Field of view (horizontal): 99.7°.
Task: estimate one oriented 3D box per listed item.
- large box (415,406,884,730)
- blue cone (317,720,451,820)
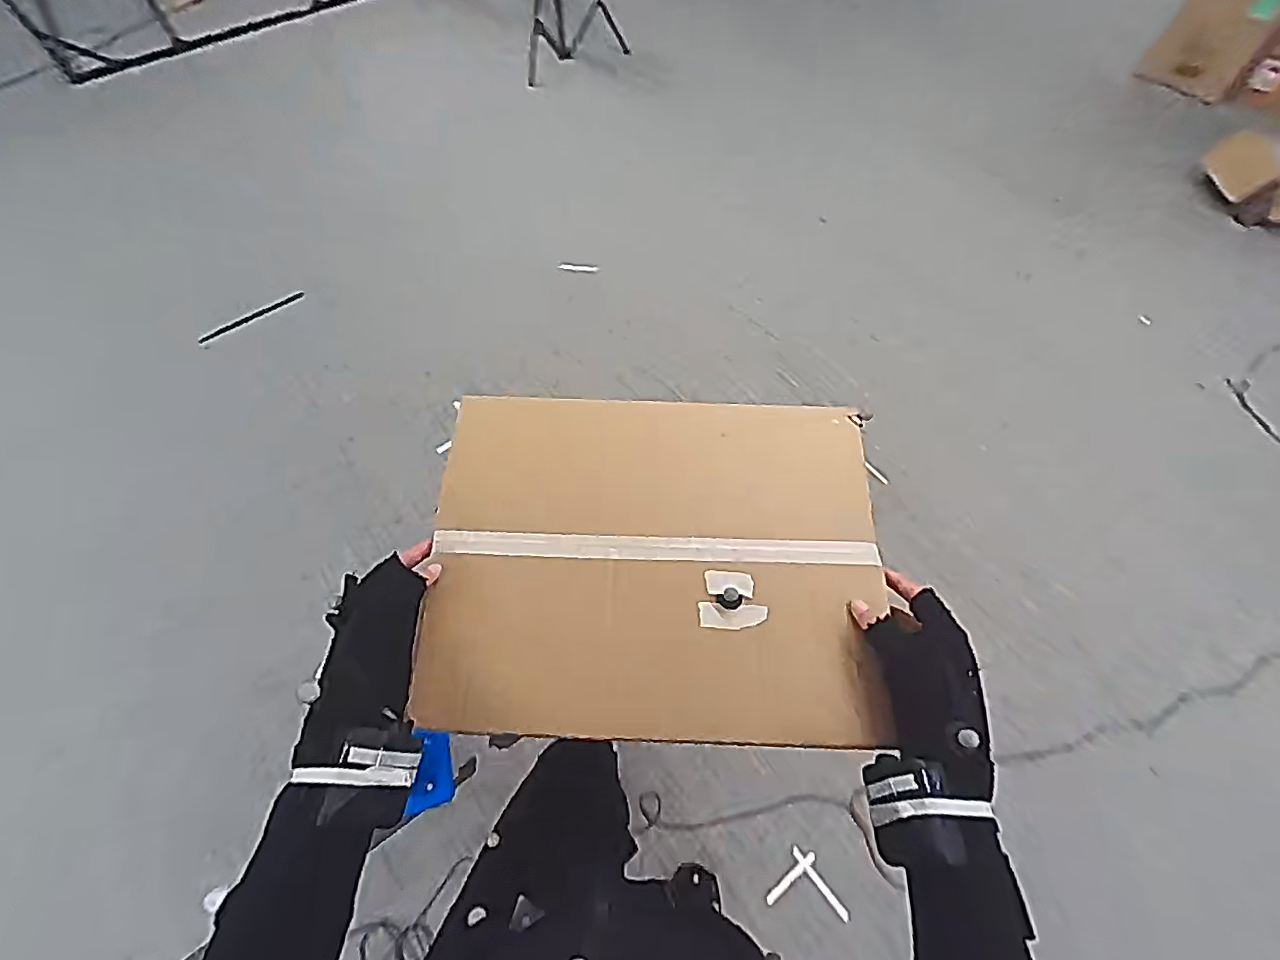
[{"bbox_3d":[0.008,0.125,0.647,0.408,0.320,0.320,2,66,1],"label":"large box"},{"bbox_3d":[-0.556,0.602,1.151,0.192,0.380,0.193,-14,60,-5],"label":"blue cone"}]
